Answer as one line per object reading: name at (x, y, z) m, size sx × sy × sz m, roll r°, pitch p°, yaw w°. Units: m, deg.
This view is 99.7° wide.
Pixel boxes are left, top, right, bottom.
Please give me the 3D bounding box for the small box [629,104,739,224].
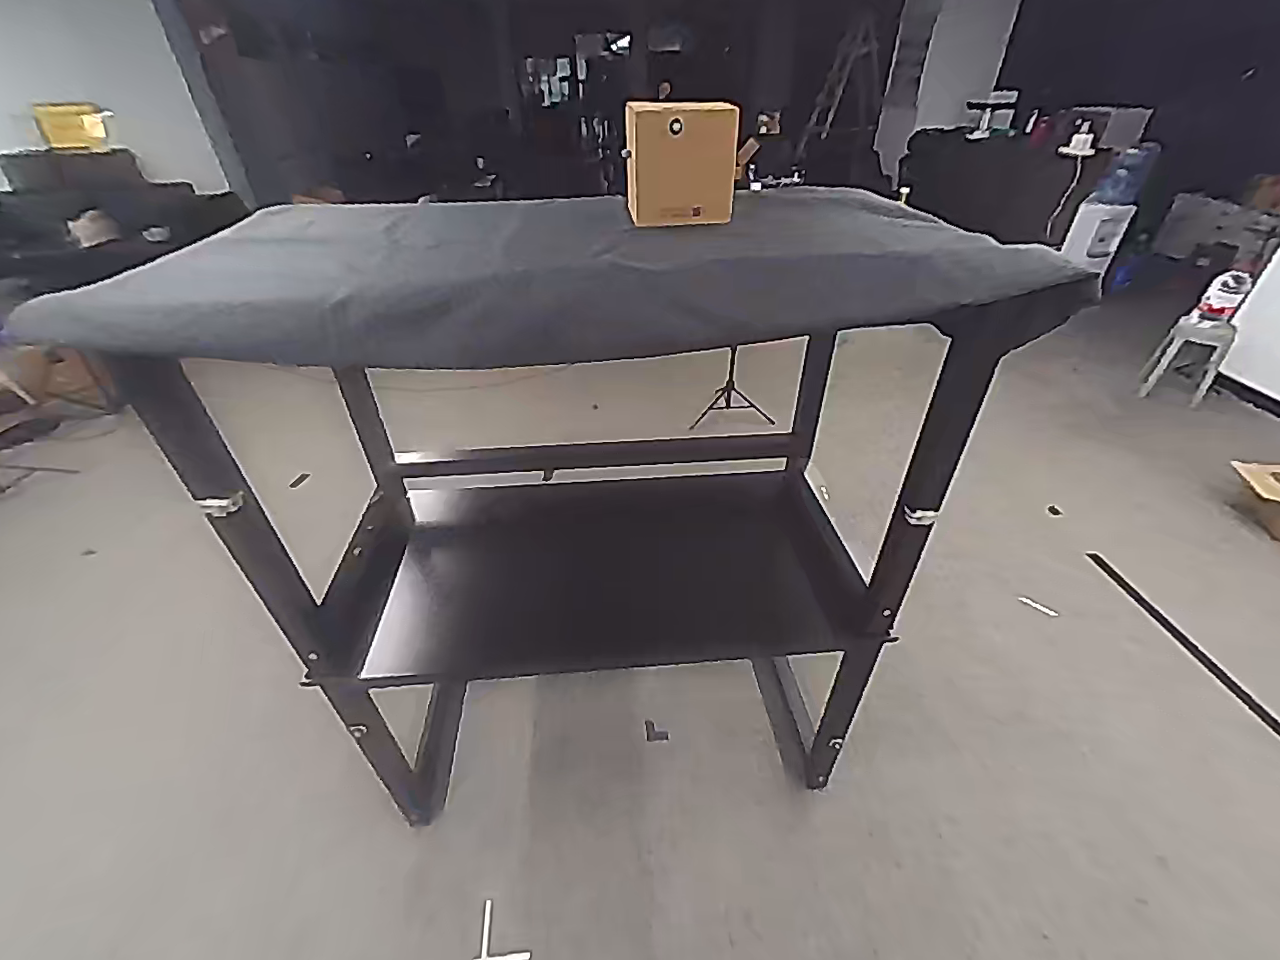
small box at (0.068, -0.556, 0.948) m, size 0.168 × 0.176 × 0.179 m, roll -4°, pitch 36°, yaw -4°
